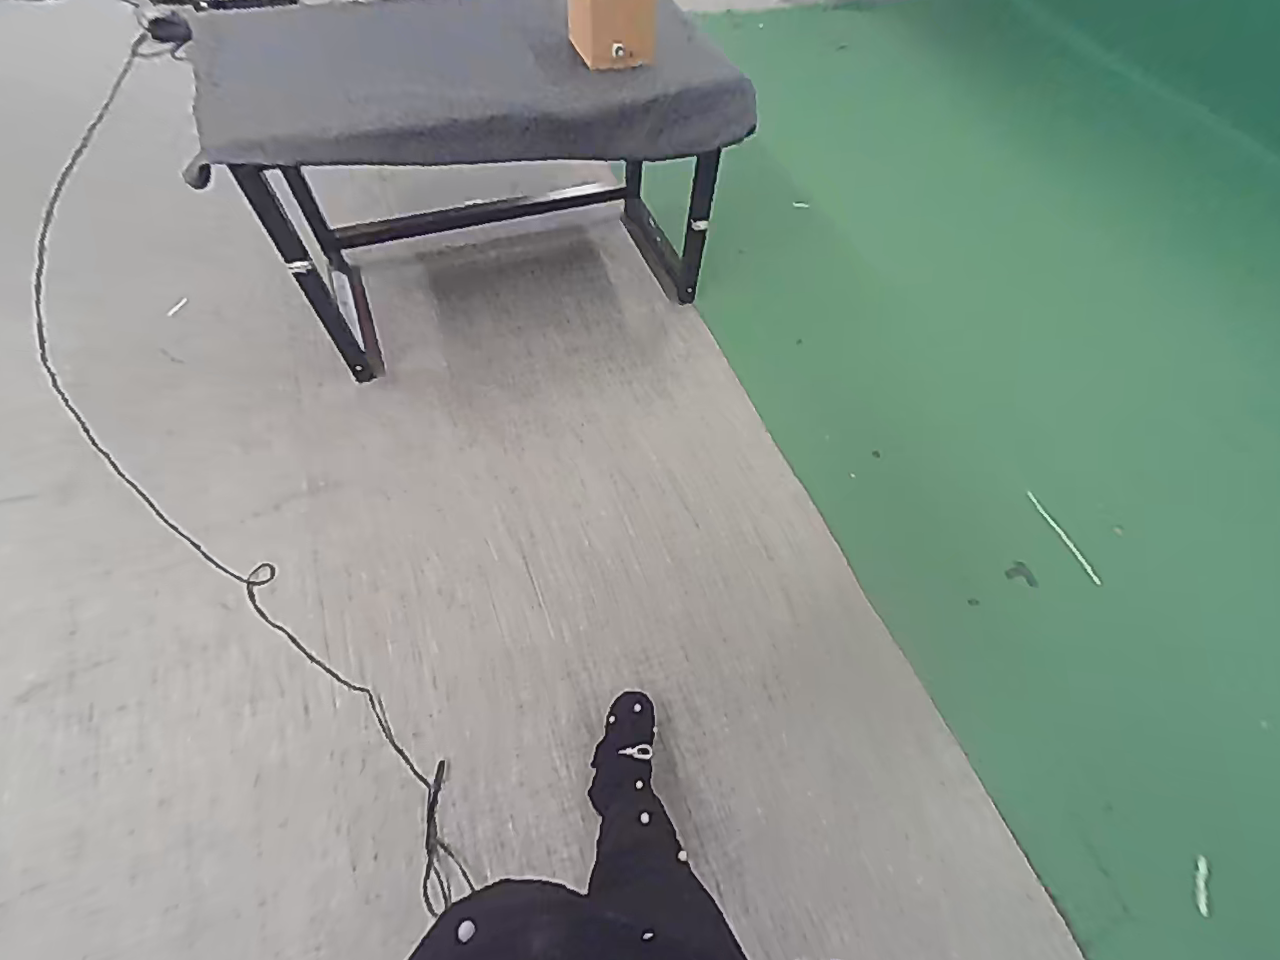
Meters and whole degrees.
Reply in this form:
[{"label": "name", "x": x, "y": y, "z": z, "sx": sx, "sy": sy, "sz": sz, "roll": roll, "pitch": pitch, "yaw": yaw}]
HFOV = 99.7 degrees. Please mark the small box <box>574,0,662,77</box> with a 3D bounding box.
[{"label": "small box", "x": -0.059, "y": -1.111, "z": 1.302, "sx": 0.168, "sy": 0.176, "sz": 0.179, "roll": -18, "pitch": 64, "yaw": -12}]
